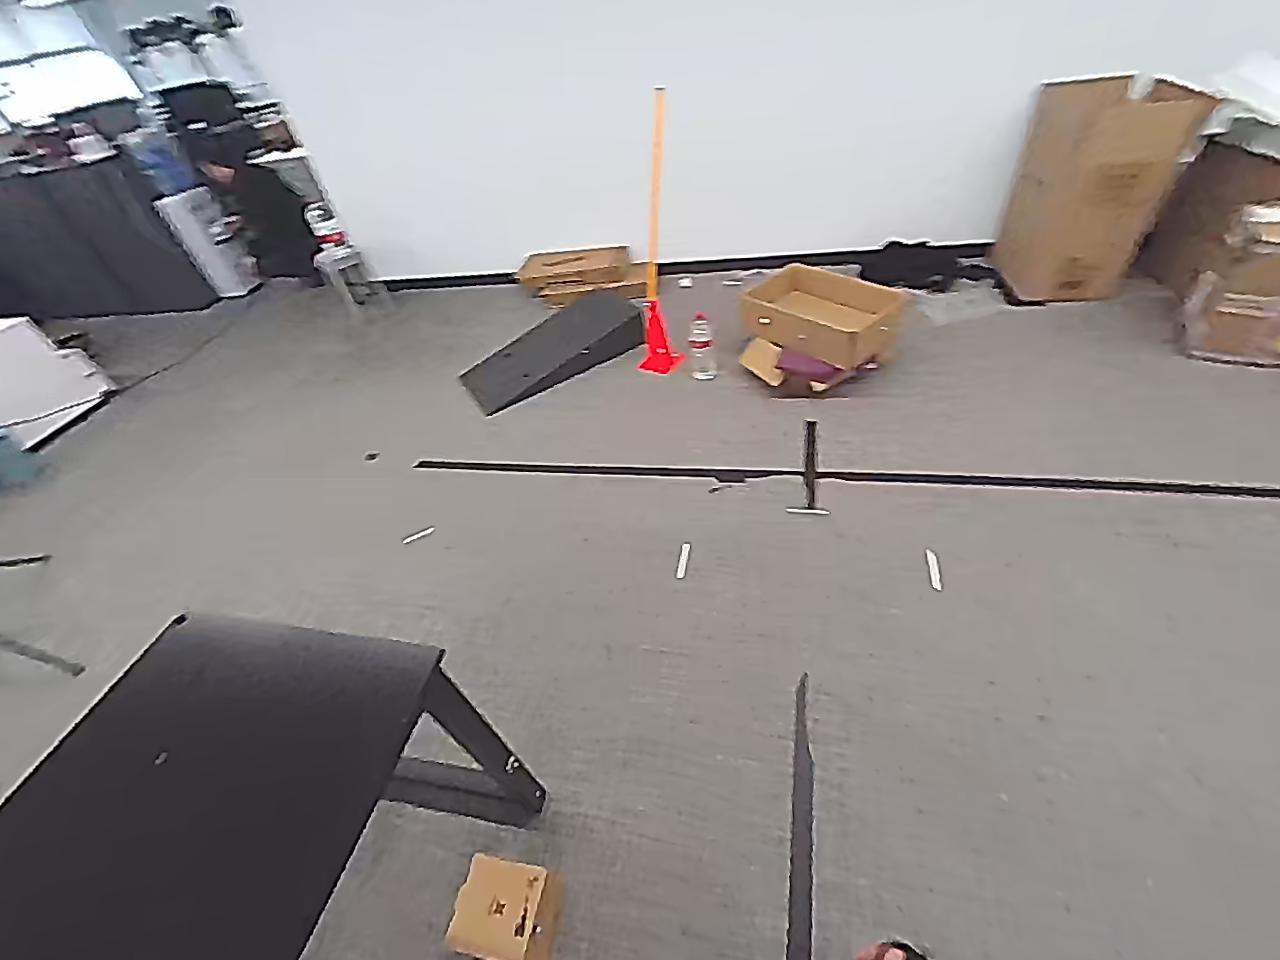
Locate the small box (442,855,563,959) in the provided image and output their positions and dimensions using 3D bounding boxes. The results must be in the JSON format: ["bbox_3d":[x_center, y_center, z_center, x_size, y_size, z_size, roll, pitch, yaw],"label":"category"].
[{"bbox_3d":[-0.287,0.944,1.169,0.179,0.176,0.168,1,45,15],"label":"small box"}]
